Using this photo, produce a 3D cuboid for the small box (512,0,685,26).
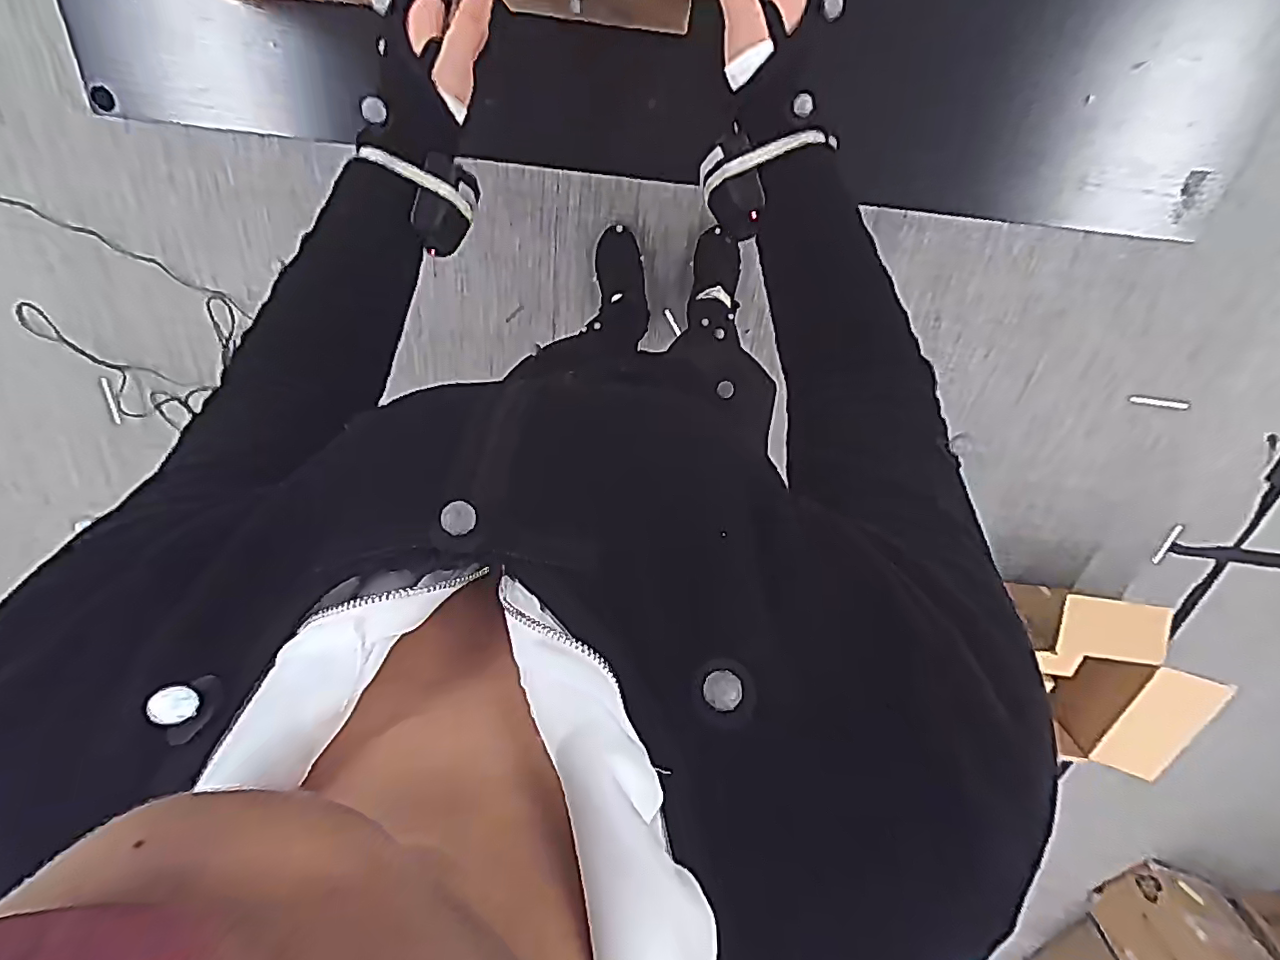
[{"bbox_3d":[-0.037,-0.483,0.419,0.179,0.176,0.168,8,118,0],"label":"small box"}]
